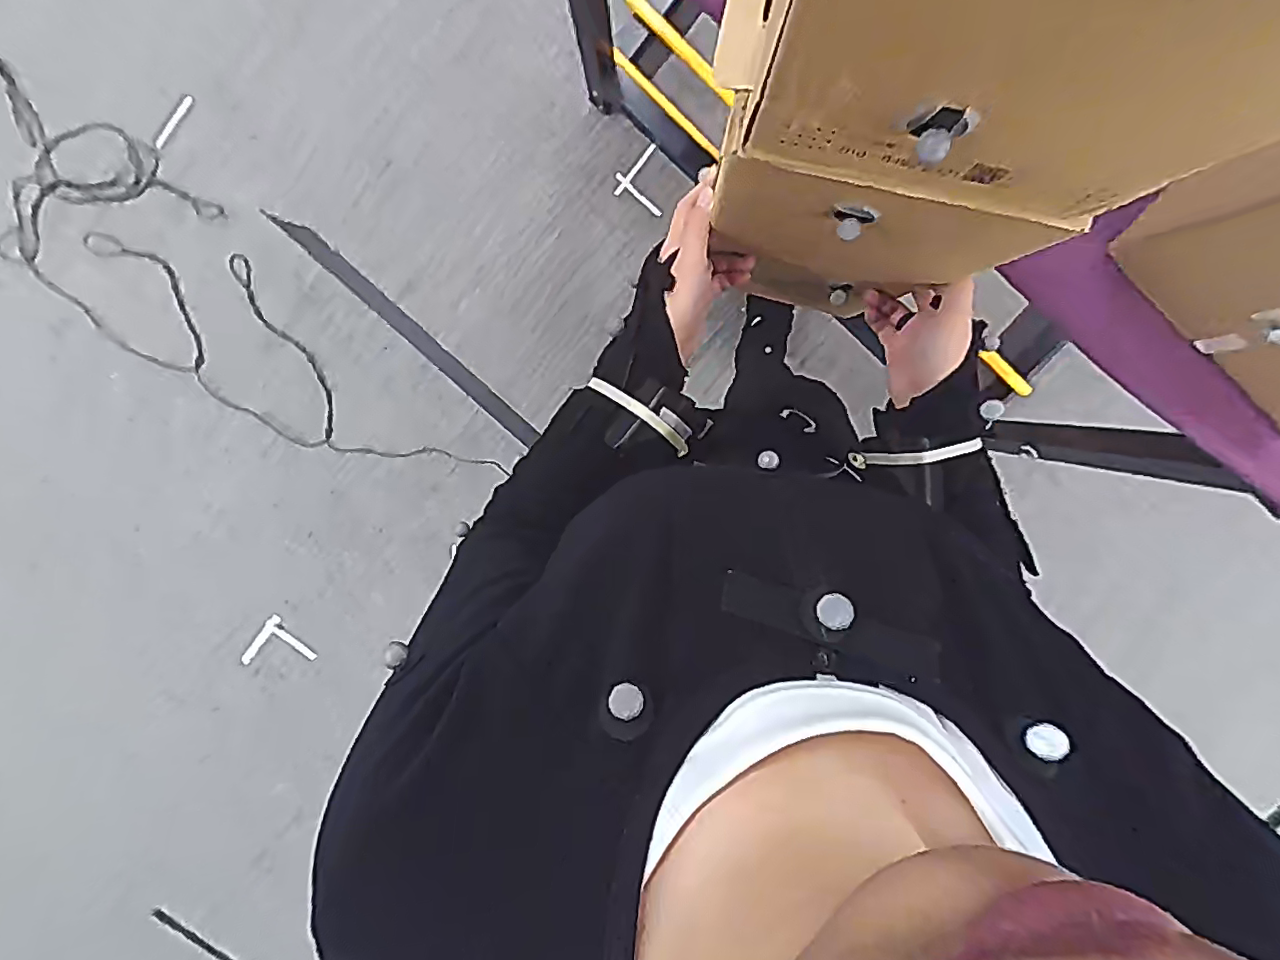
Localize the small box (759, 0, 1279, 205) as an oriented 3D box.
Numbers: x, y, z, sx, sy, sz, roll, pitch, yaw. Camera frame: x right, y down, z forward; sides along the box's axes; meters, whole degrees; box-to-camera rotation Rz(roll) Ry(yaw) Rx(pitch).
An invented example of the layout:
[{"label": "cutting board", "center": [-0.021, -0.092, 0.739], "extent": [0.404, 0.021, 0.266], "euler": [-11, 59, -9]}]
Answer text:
[{"label": "small box", "center": [0.141, -0.207, 0.153], "extent": [0.168, 0.176, 0.179], "euler": [11, 101, 1]}]

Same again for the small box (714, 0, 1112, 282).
[{"label": "small box", "center": [0.148, -0.226, 0.314], "extent": [0.179, 0.176, 0.168], "euler": [12, 100, 0]}]

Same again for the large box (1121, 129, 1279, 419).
[{"label": "large box", "center": [0.735, -0.264, 0.412], "extent": [0.320, 0.320, 0.408], "euler": [41, 97, -6]}]
